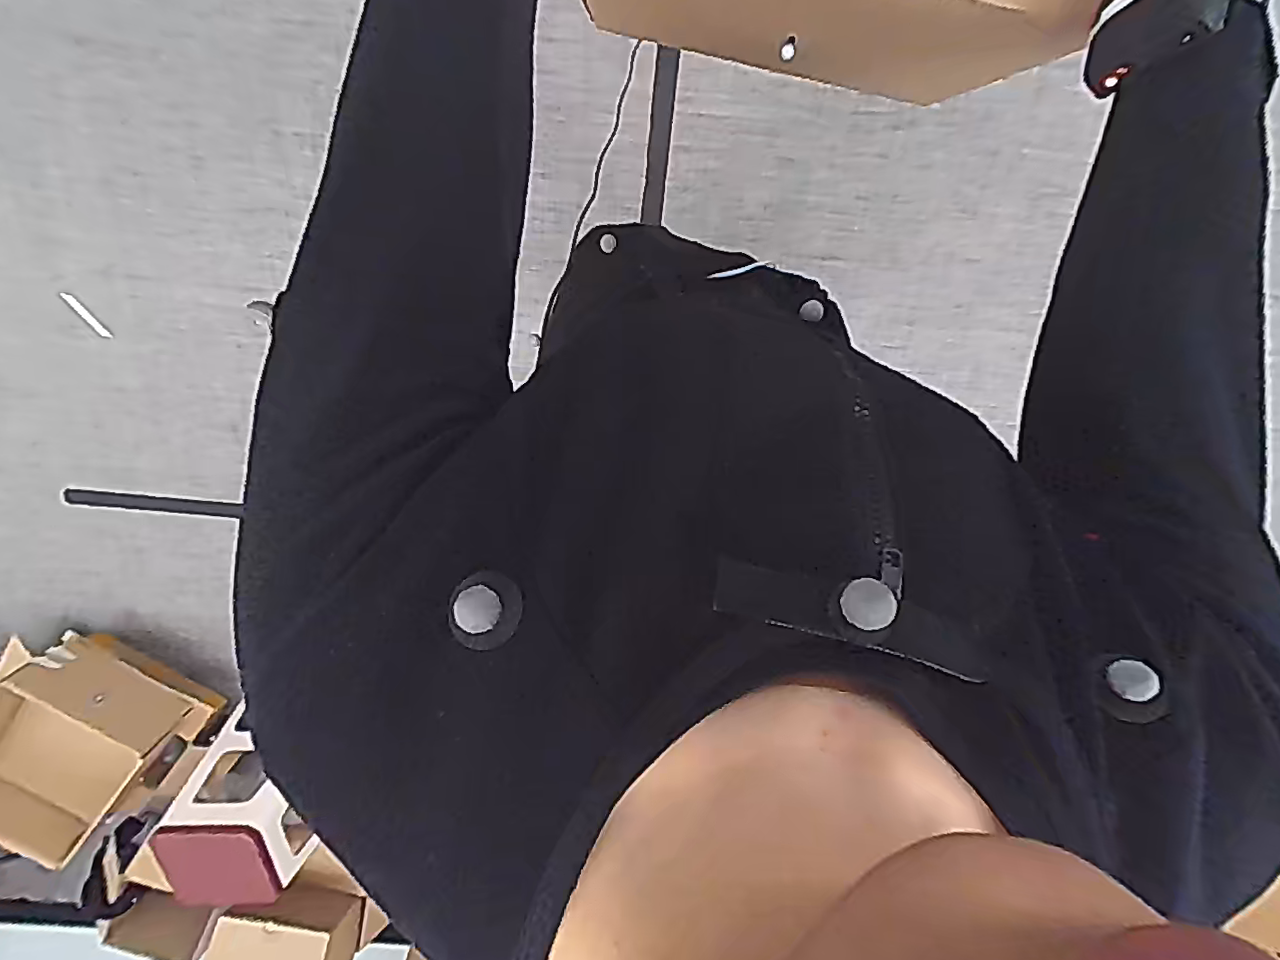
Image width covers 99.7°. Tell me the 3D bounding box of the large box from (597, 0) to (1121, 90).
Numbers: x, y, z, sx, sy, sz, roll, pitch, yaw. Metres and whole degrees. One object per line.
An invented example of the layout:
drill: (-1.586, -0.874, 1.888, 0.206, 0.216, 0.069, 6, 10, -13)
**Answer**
large box: (0.171, -0.555, 0.432, 0.408, 0.320, 0.320, 11, 116, -3)
